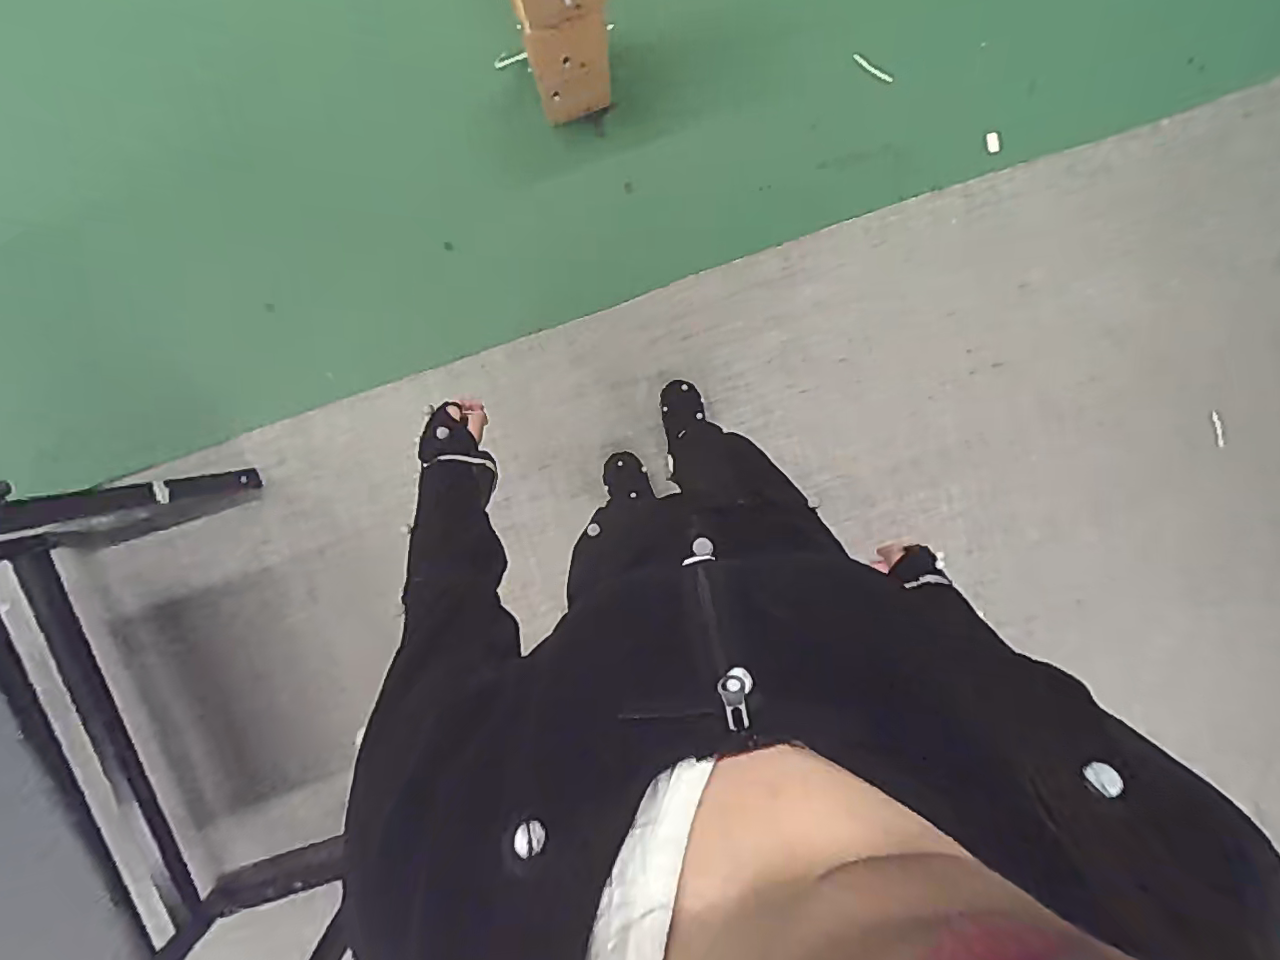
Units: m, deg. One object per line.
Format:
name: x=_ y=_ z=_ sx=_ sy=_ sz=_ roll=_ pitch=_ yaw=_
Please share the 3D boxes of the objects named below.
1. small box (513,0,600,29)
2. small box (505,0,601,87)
small box: x=-0.173 y=-0.972 z=0.965 sx=0.168 sy=0.176 sz=0.179 roll=-18 pitch=96 yaw=-1
small box: x=-0.186 y=-0.980 z=1.130 sx=0.168 sy=0.176 sz=0.179 roll=-20 pitch=96 yaw=-1
